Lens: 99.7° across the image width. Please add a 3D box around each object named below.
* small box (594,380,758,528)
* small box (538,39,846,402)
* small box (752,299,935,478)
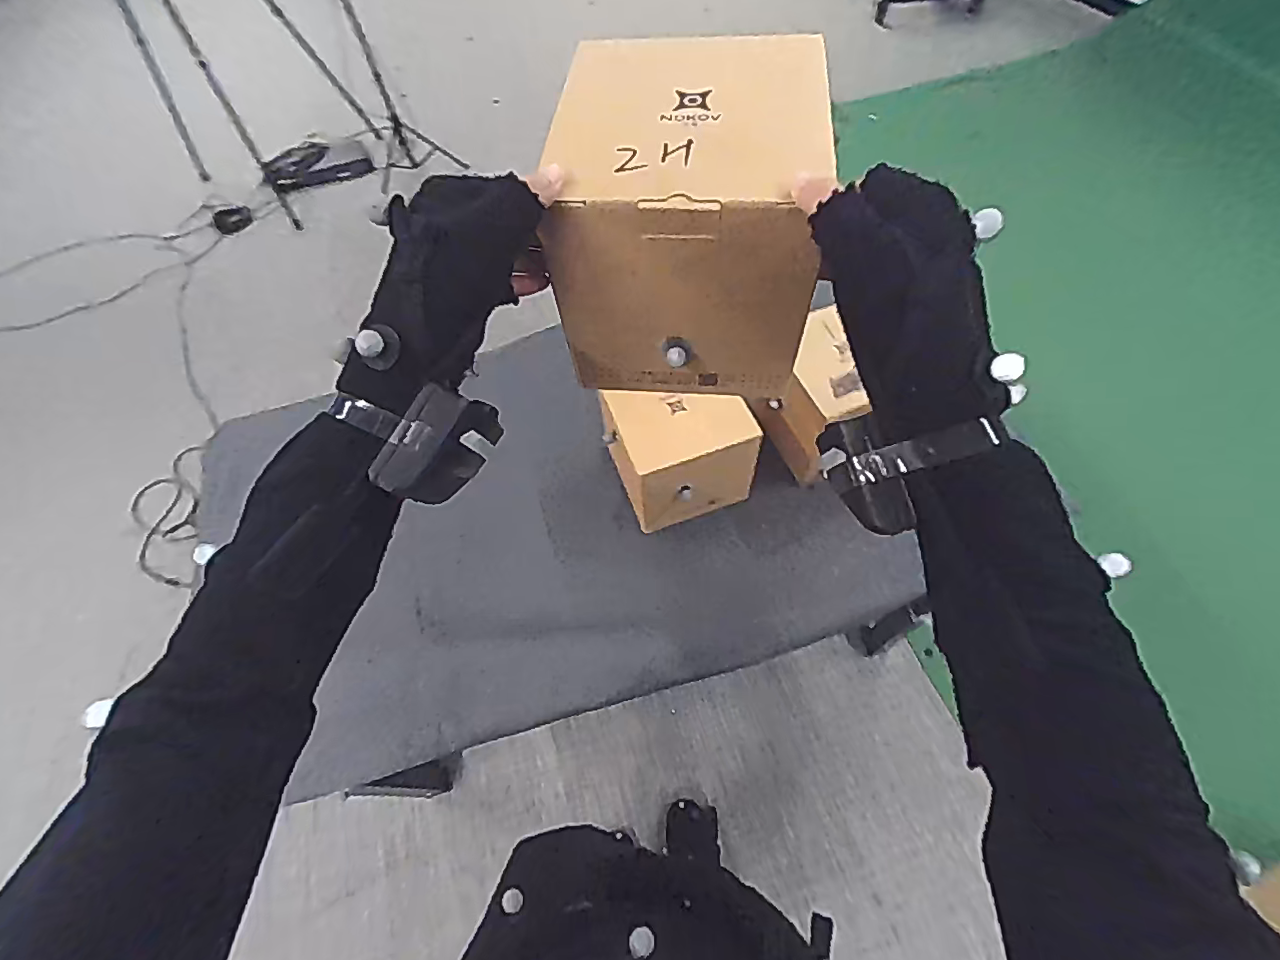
[{"bbox_3d":[0.049,-0.051,0.760,0.168,0.176,0.179,-19,58,-7],"label":"small box"},{"bbox_3d":[0.041,-0.180,0.392,0.168,0.176,0.179,4,61,8],"label":"small box"},{"bbox_3d":[0.277,-0.123,0.783,0.168,0.176,0.179,-19,58,-8],"label":"small box"}]
